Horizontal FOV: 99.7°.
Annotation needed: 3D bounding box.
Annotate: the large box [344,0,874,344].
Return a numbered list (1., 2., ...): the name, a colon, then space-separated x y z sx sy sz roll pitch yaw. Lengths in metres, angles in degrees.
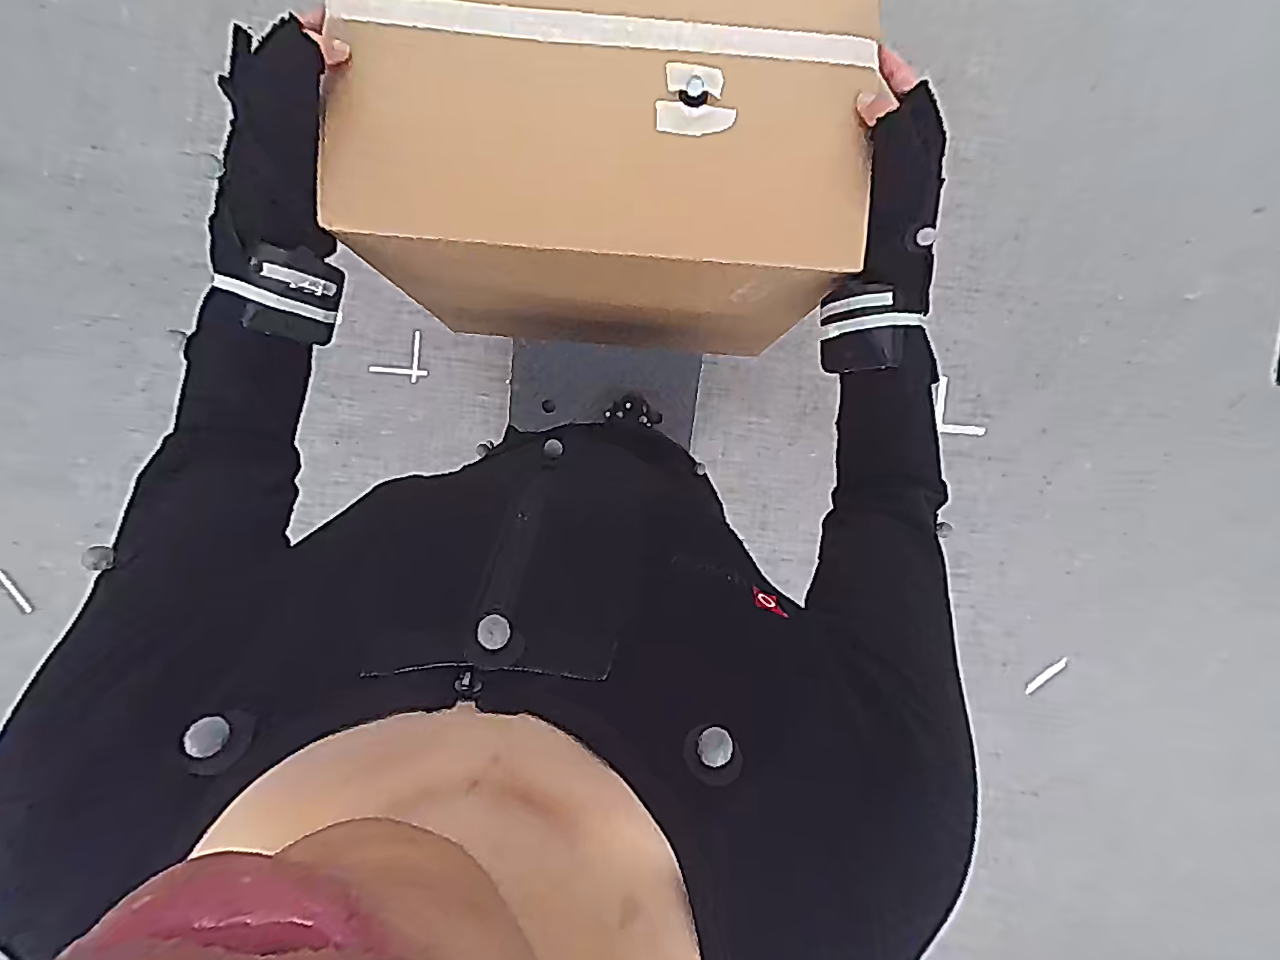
1. large box: -0.027 -0.338 0.561 0.408 0.320 0.320 4 91 -2
